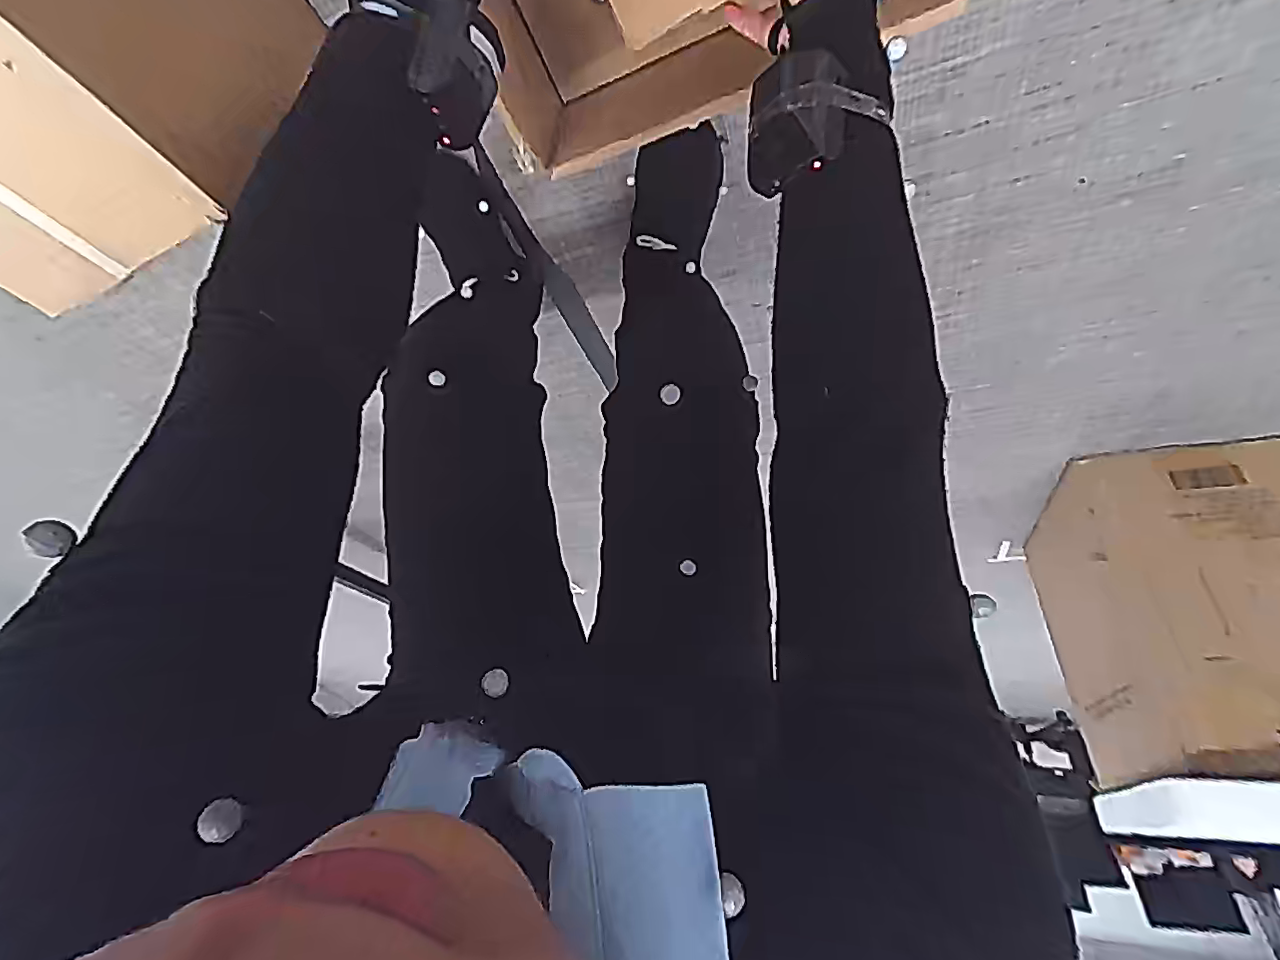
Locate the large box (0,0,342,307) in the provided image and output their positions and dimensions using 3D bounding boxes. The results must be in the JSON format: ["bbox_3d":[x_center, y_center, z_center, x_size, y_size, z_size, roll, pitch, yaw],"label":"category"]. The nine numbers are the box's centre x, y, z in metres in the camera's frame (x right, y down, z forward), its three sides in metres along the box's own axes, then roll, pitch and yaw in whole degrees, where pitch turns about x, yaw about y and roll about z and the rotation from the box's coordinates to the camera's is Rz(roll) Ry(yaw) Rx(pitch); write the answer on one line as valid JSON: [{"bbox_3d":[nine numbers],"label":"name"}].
[{"bbox_3d":[-0.557,-0.432,0.442,0.320,0.320,0.408,-10,147,23],"label":"large box"}]
